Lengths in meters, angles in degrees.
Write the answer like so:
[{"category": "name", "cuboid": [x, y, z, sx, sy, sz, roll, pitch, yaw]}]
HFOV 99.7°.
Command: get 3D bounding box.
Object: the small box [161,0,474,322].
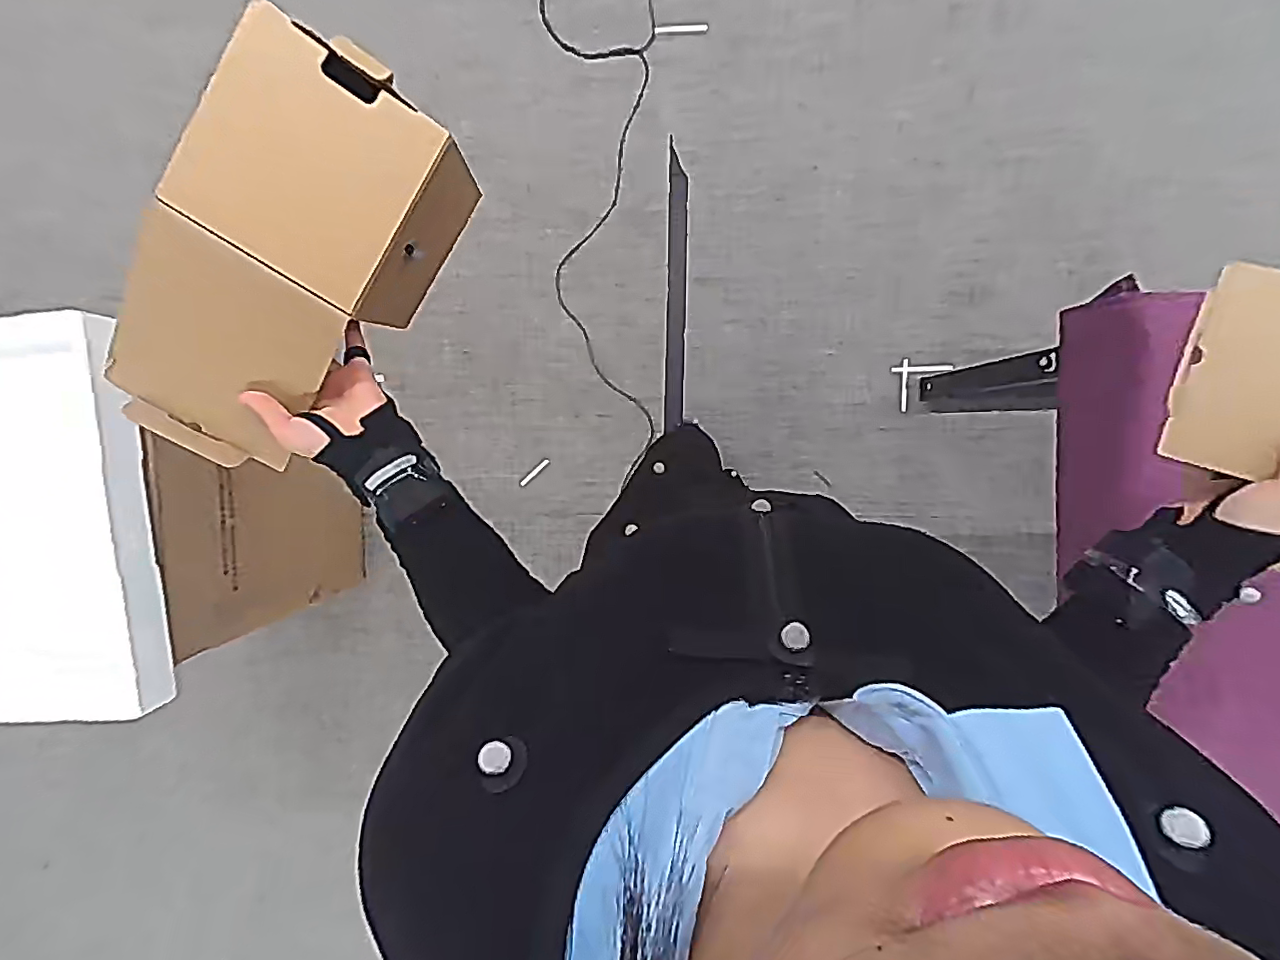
[{"category": "small box", "cuboid": [-0.278, -0.269, 0.513, 0.168, 0.176, 0.179, 32, 96, -13]}]
